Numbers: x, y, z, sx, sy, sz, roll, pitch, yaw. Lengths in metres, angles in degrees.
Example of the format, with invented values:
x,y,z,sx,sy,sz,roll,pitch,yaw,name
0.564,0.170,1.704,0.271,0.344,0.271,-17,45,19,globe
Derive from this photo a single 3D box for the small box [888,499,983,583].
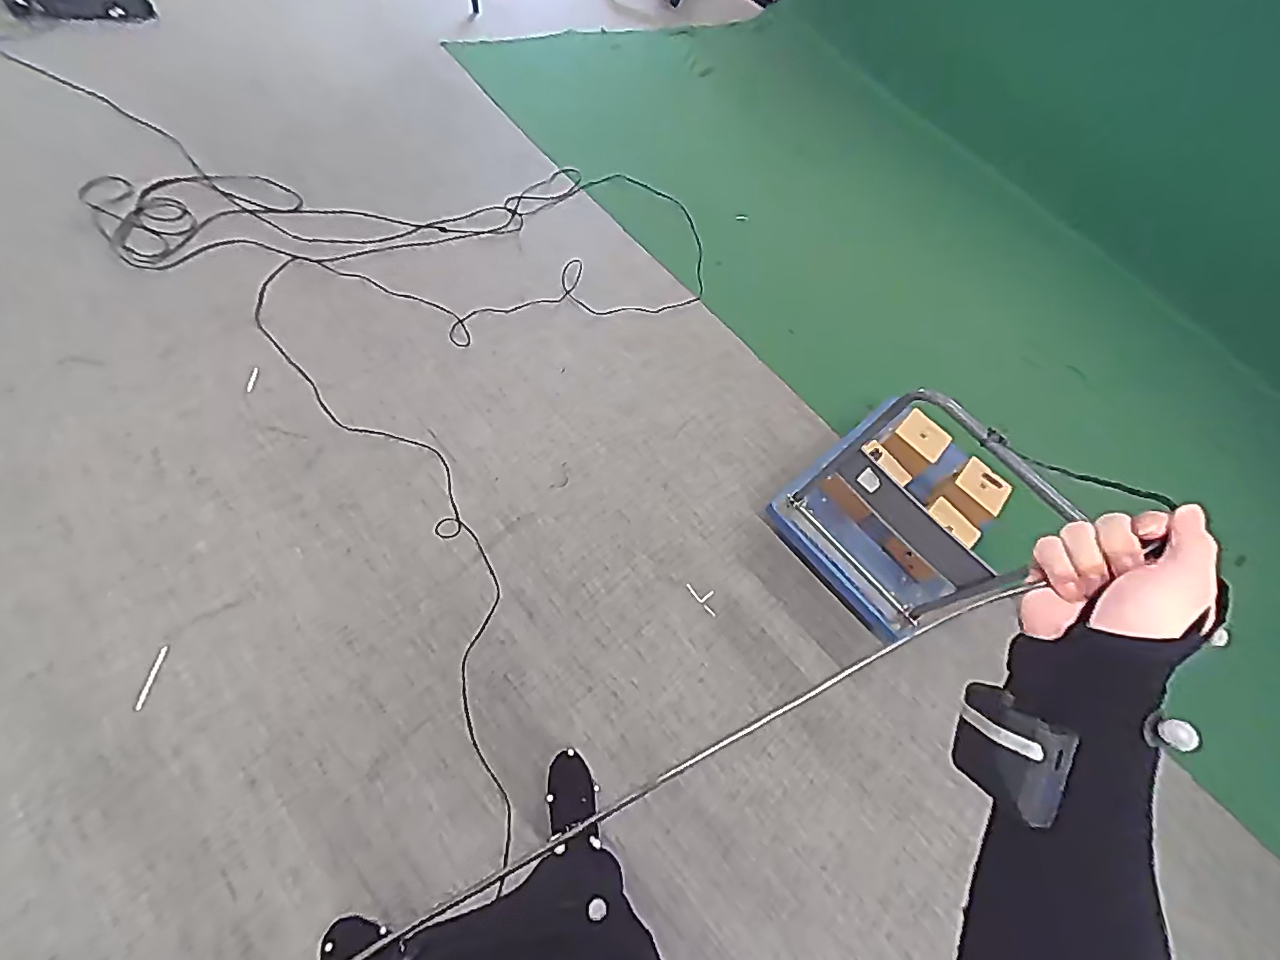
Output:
x,y,z,sx,sy,sz,roll,pitch,yaw,name
0.936,0.197,1.727,0.179,0.176,0.168,-34,74,-29,small box

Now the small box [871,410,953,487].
x,y,z,sx,sy,sz,roll,pitch,yaw,name
0.952,-0.107,1.911,0.168,0.176,0.179,45,59,11,small box

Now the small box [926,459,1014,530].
x,y,z,sx,sy,sz,roll,pitch,yaw,name
1.129,0.064,1.861,0.168,0.176,0.179,44,59,12,small box
